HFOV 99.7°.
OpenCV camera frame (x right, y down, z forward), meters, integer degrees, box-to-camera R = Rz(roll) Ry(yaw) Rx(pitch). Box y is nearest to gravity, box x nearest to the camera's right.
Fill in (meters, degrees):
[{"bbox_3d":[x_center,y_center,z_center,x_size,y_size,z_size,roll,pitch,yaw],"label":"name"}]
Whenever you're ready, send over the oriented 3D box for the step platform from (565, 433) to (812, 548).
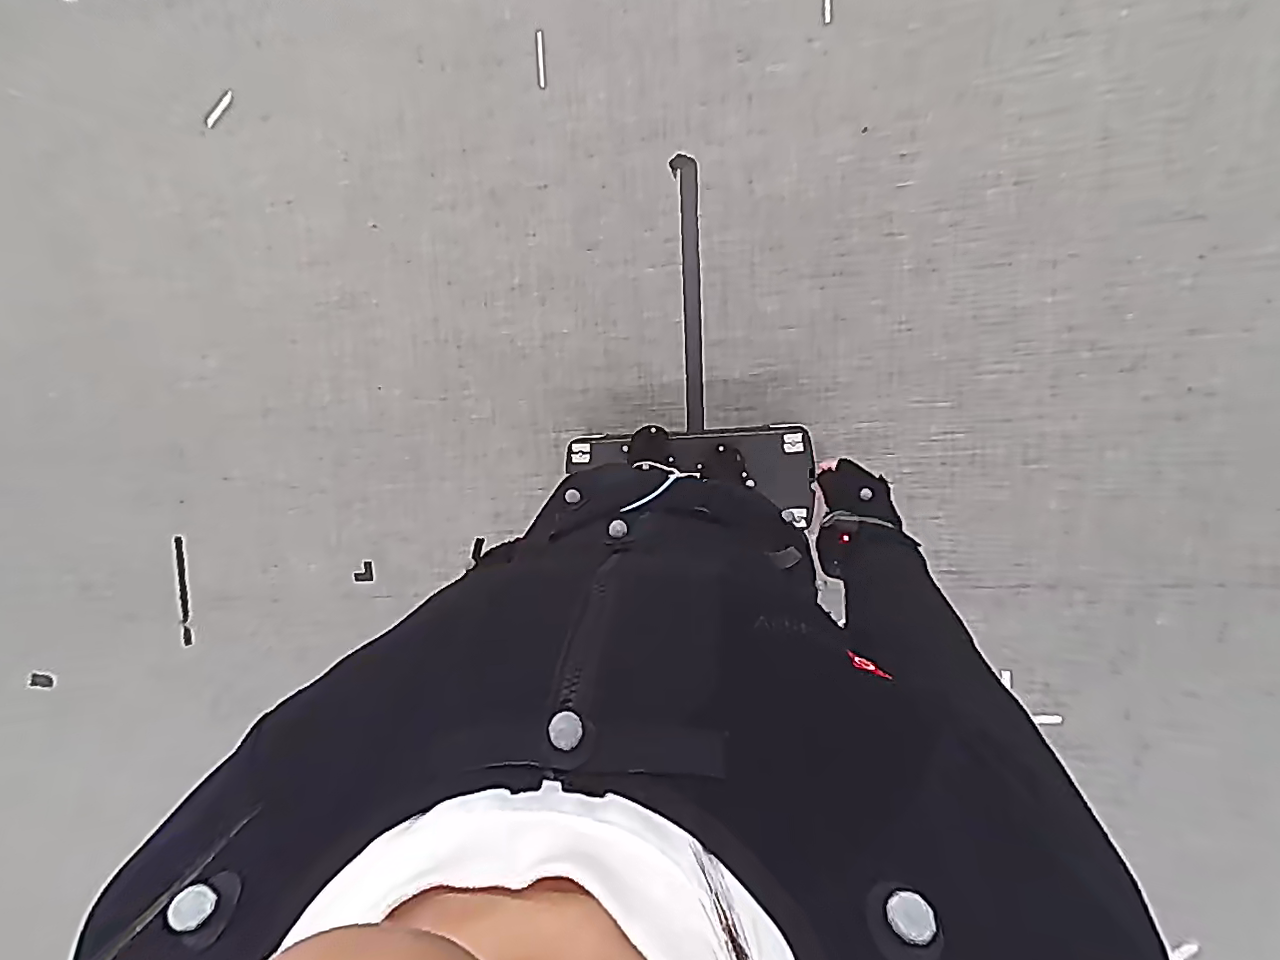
[{"bbox_3d":[0.131,0.029,1.534,0.684,0.204,0.286,-4,95,8],"label":"step platform"}]
